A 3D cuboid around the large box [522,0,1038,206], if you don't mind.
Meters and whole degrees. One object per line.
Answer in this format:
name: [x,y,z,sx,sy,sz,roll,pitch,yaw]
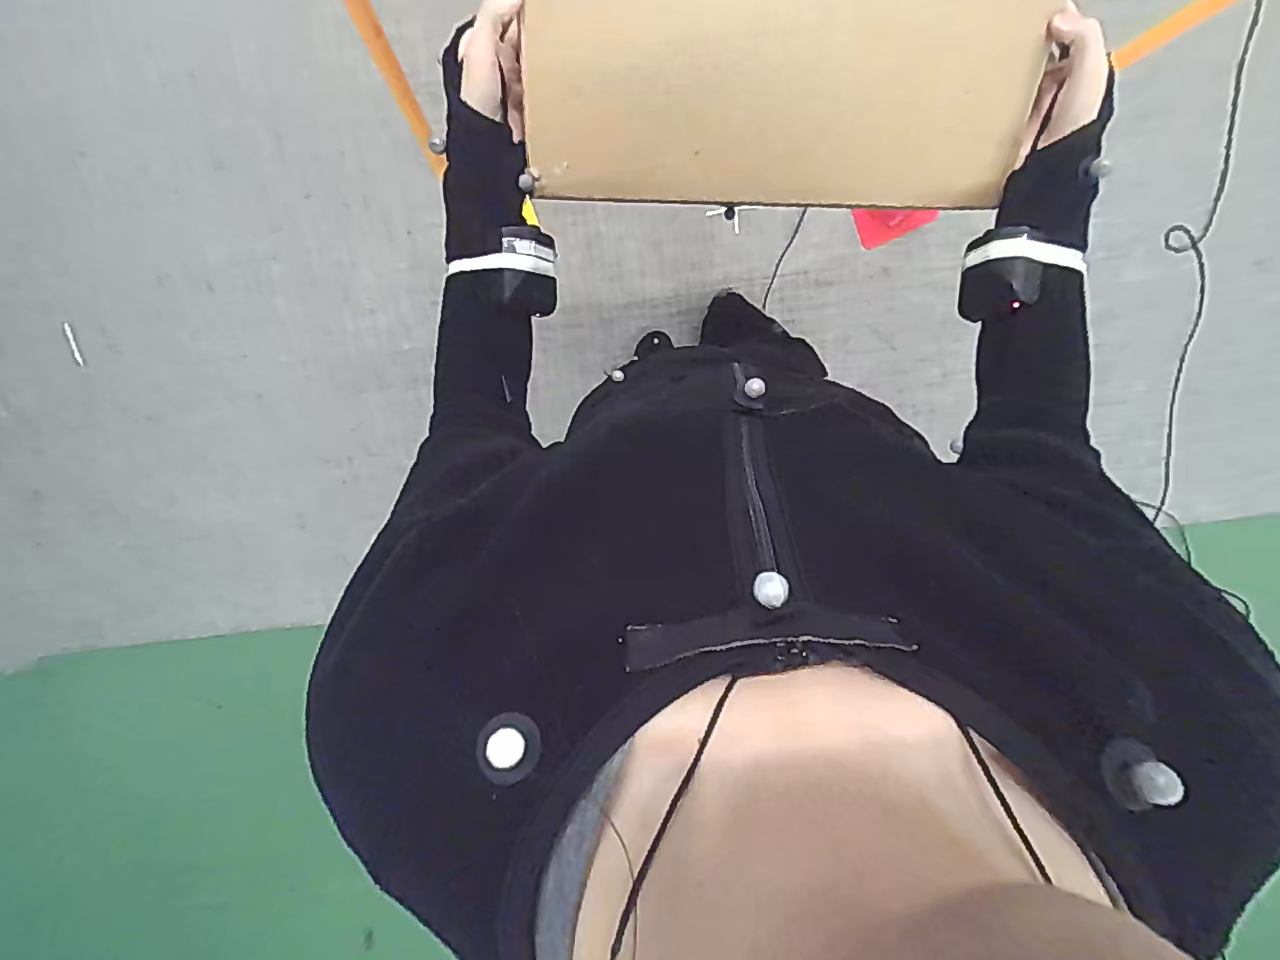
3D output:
large box: [0.105,-0.448,0.532,0.408,0.320,0.320,-1,117,-2]
